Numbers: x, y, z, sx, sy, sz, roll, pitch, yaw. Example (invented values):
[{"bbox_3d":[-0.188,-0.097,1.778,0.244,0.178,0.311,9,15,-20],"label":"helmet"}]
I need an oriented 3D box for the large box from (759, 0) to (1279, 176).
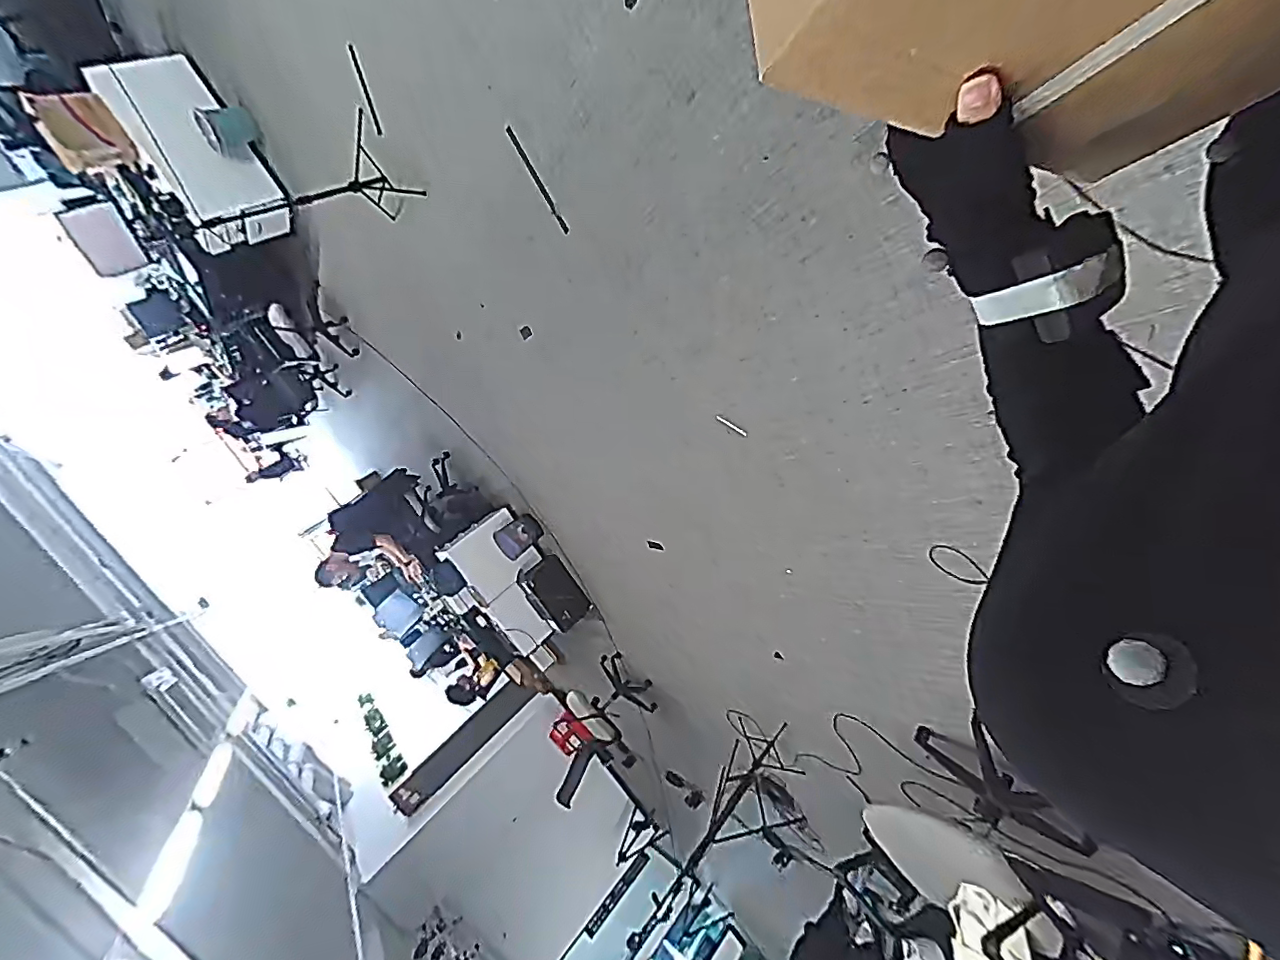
[{"bbox_3d":[0.260,-0.378,0.160,0.408,0.320,0.320,-13,84,62],"label":"large box"}]
